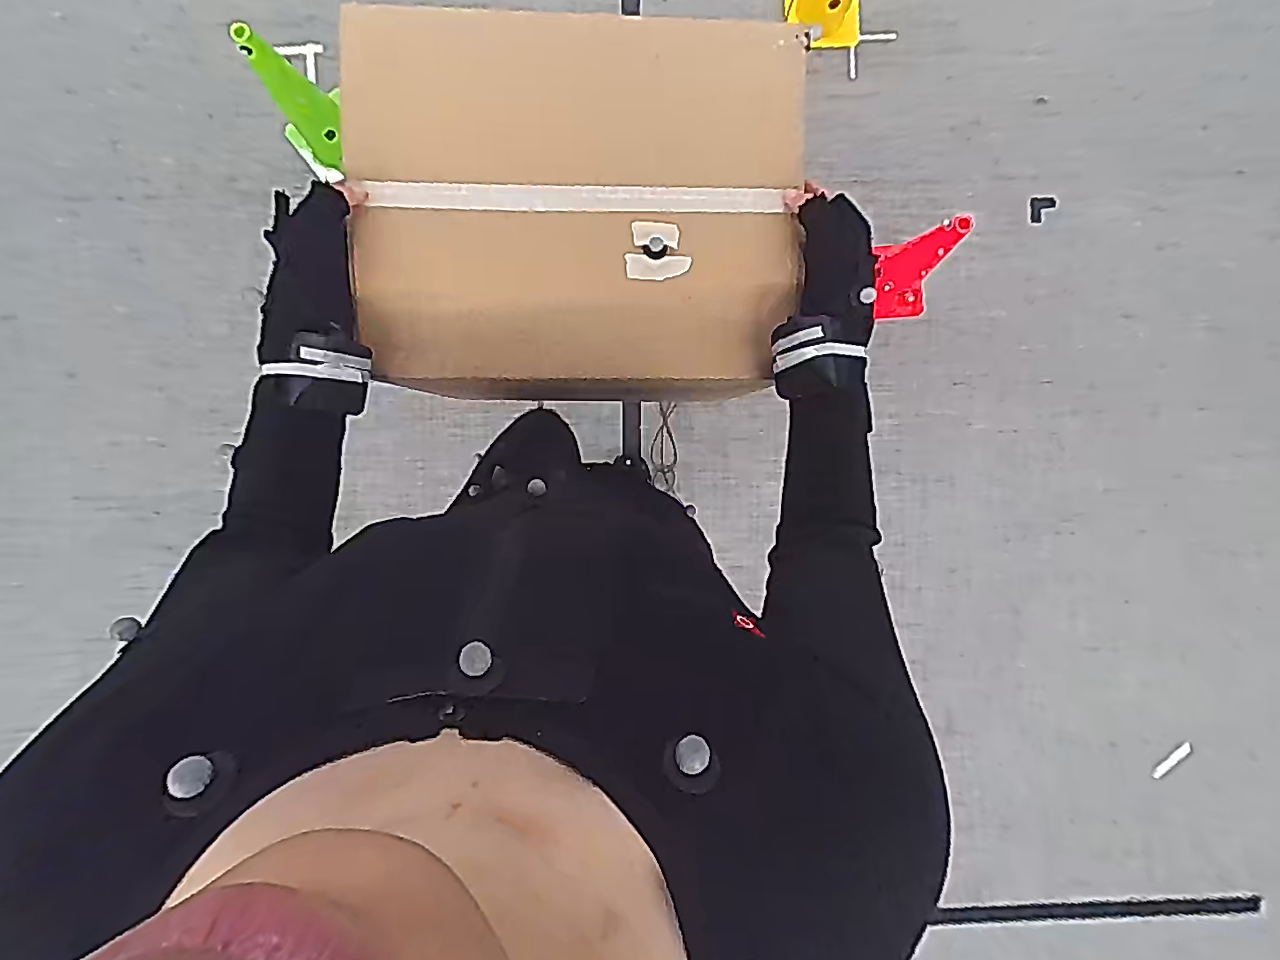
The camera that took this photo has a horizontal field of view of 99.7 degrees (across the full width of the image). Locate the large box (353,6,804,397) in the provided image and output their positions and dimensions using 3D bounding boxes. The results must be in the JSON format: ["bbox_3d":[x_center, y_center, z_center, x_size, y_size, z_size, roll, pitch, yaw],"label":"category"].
[{"bbox_3d":[-0.059,-0.269,0.634,0.408,0.320,0.320,-1,95,-4],"label":"large box"}]

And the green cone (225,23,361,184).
[{"bbox_3d":[-0.816,-0.918,1.272,0.202,0.368,0.200,-39,90,2],"label":"green cone"}]

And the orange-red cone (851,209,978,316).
[{"bbox_3d":[0.676,-0.545,1.293,0.198,0.360,0.199,-4,90,-1],"label":"orange-red cone"}]
